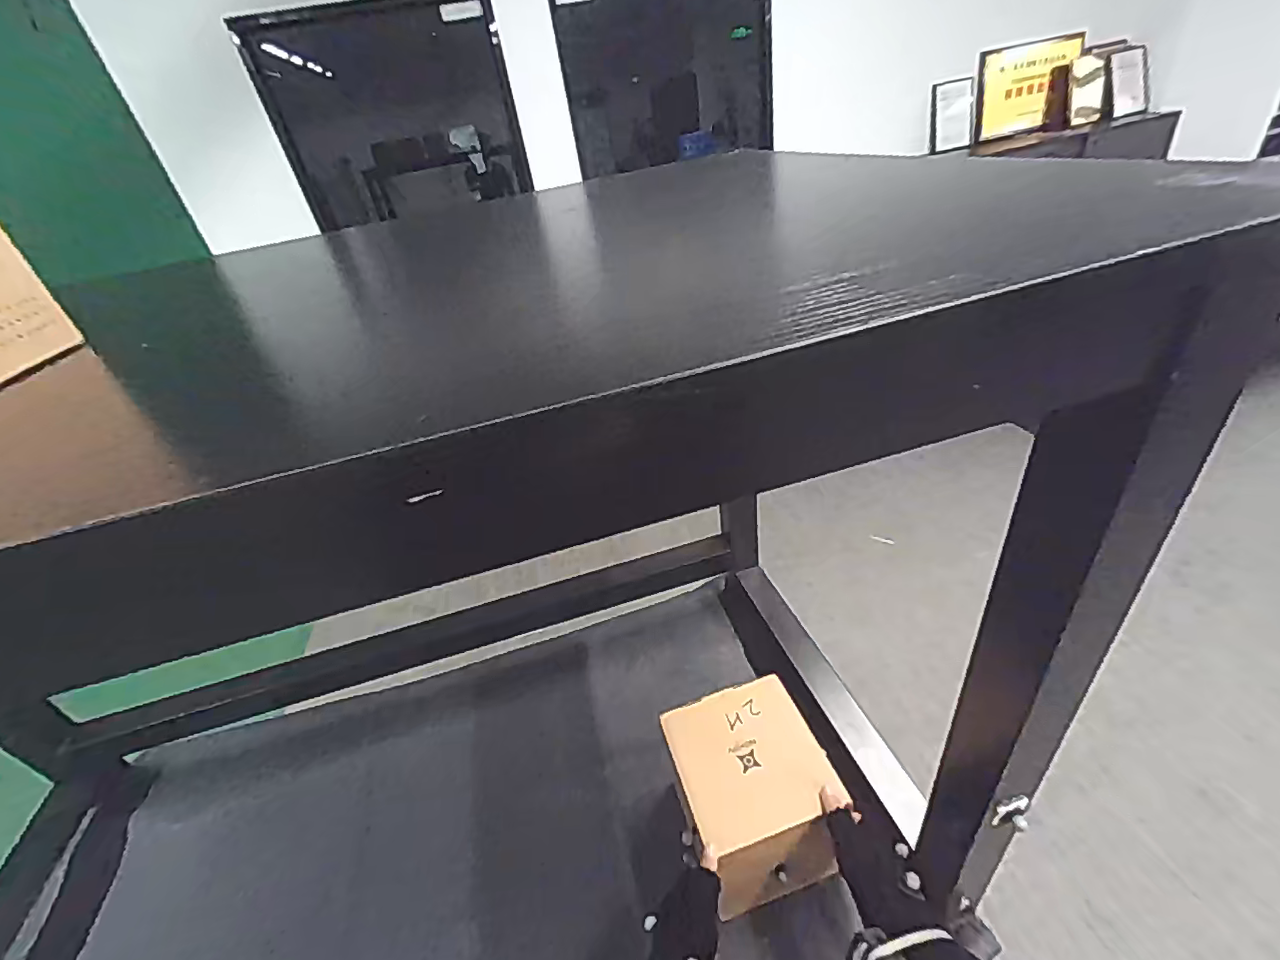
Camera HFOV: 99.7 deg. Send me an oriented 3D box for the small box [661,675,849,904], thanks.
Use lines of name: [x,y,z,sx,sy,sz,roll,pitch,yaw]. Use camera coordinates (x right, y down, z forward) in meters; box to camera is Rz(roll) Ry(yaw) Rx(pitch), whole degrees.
small box: [0.139,0.388,0.676,0.168,0.176,0.179,-16,33,-8]
